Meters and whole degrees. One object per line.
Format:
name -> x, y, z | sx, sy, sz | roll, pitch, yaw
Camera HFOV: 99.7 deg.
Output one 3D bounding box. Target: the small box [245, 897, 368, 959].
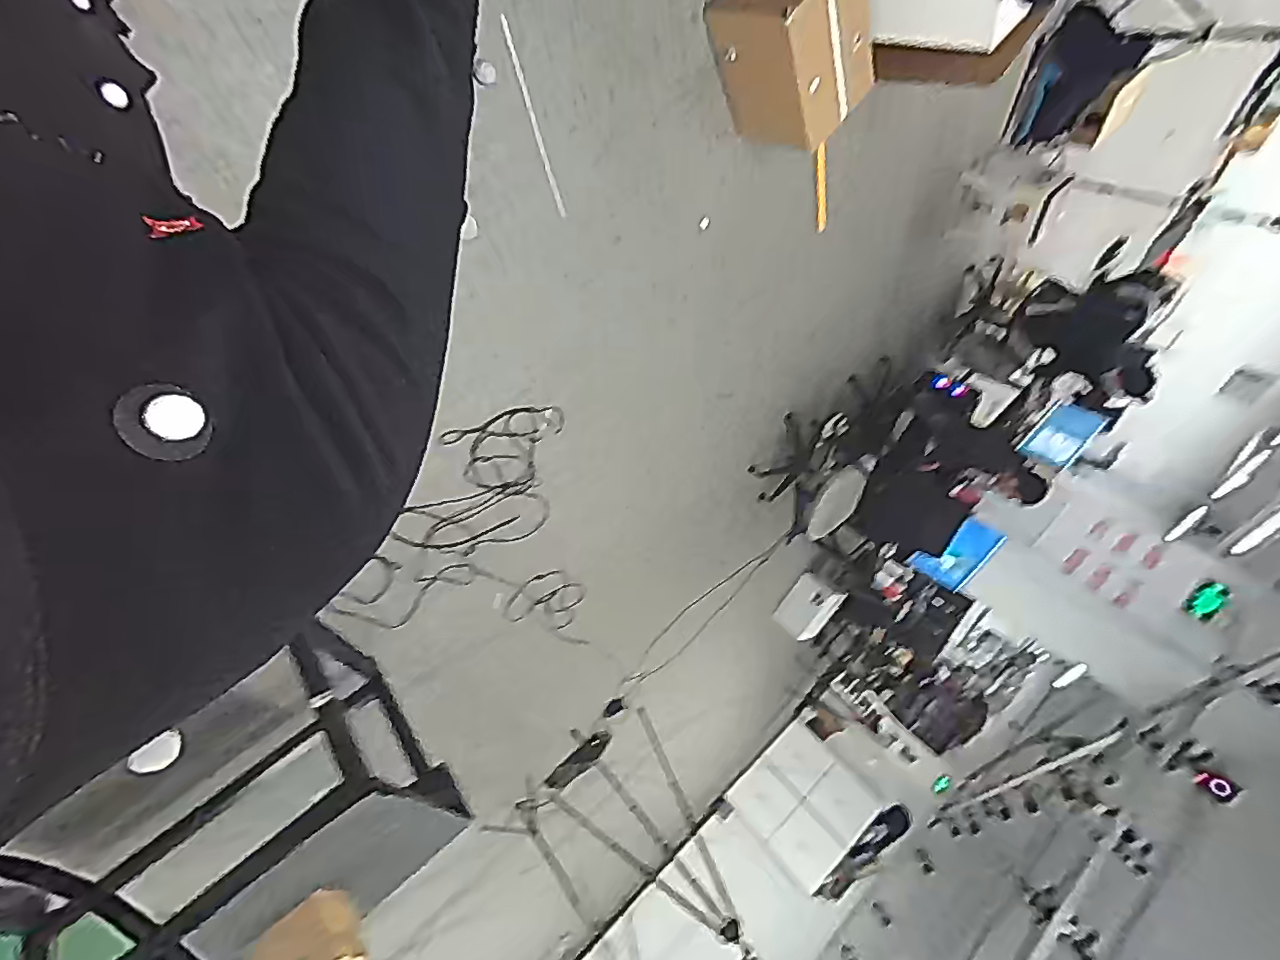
small box -> -0.803, 1.155, 1.305 | 0.179, 0.176, 0.168 | -35, 143, -22
